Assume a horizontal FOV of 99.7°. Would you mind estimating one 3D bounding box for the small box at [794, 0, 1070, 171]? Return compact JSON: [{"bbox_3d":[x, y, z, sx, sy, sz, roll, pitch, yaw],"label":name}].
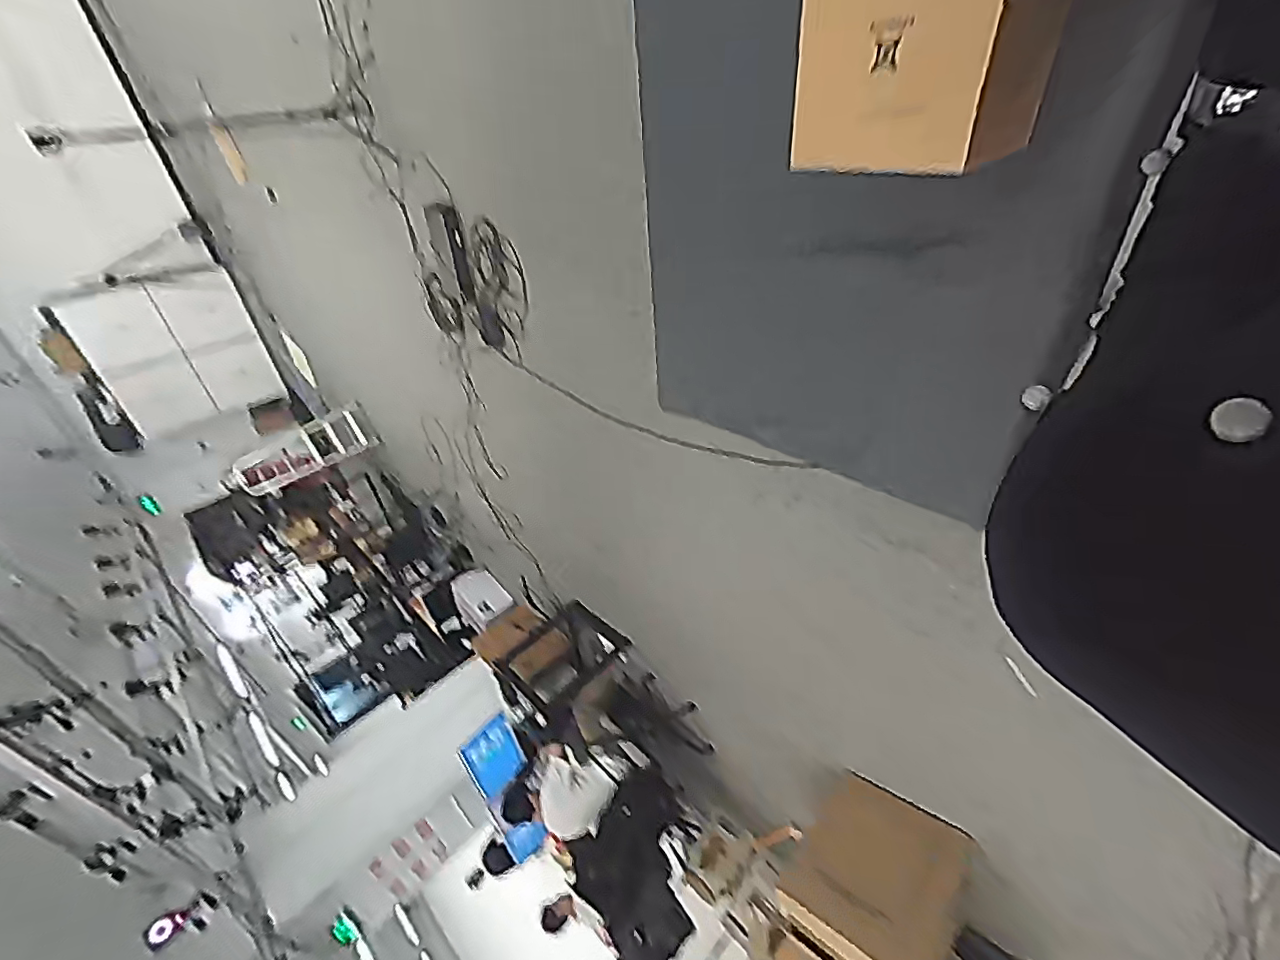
[{"bbox_3d":[0.262,-0.395,0.489,0.168,0.176,0.179,28,140,38],"label":"small box"}]
